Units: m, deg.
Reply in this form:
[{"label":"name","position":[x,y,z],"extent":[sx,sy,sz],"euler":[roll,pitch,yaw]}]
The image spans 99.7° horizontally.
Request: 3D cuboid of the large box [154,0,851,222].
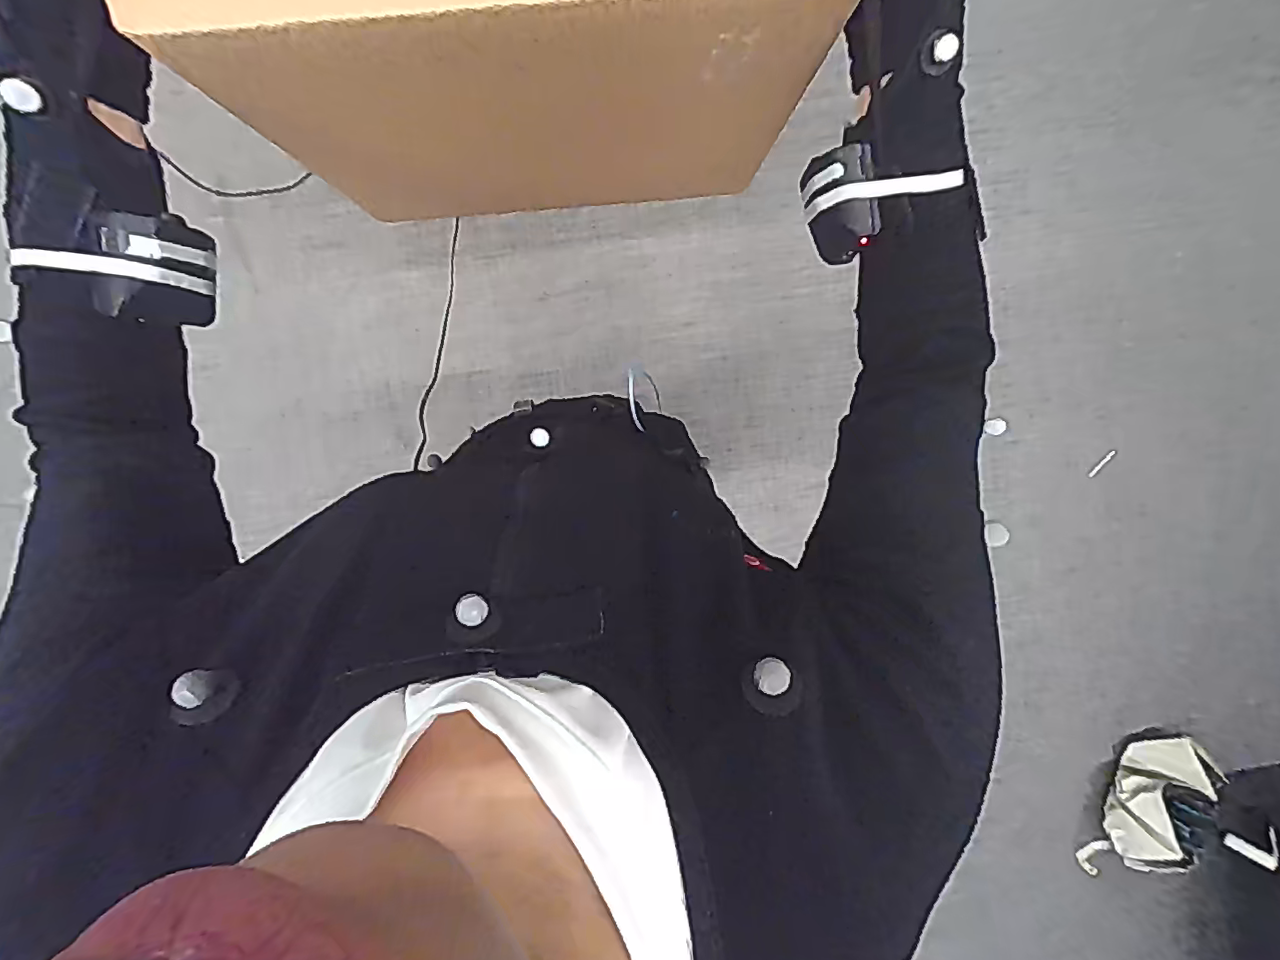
[{"label":"large box","position":[-0.089,-0.430,0.425],"extent":[0.408,0.320,0.320],"euler":[-7,99,-2]}]
